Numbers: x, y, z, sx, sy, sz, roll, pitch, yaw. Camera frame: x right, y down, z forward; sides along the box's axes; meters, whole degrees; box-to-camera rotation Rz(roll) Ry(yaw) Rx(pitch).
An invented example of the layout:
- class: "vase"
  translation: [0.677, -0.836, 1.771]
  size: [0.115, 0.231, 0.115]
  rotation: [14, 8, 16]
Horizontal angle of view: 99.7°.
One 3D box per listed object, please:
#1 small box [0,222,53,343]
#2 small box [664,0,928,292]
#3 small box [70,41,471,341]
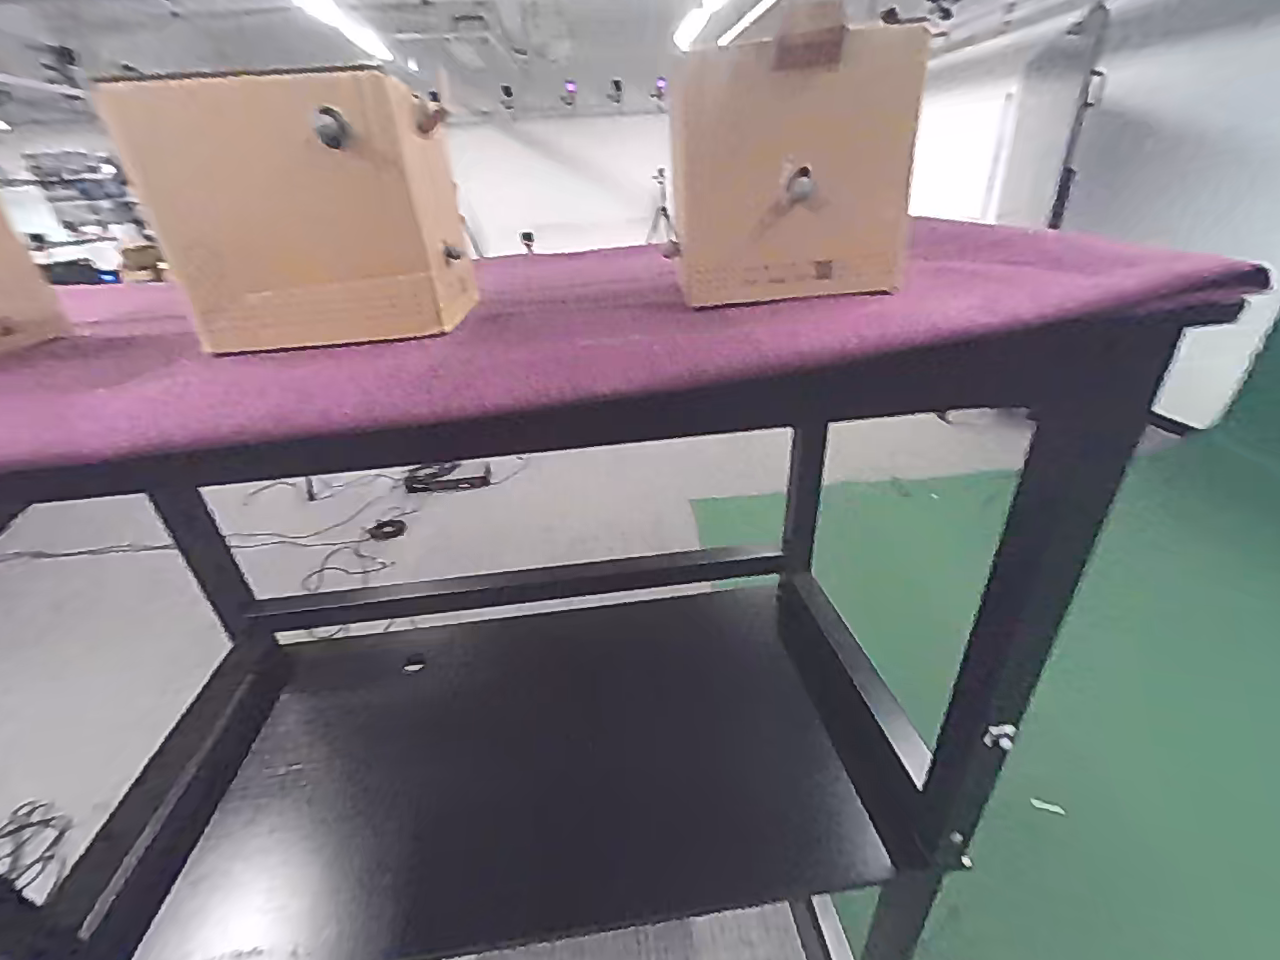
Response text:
- class: "small box"
  translation: [-0.605, -0.164, 0.376]
  size: [0.179, 0.176, 0.168]
  rotation: [-6, 31, -5]
- class: "small box"
  translation: [0.110, -0.257, 0.450]
  size: [0.168, 0.176, 0.179]
  rotation: [-4, 28, 3]
- class: "small box"
  translation: [-0.248, -0.211, 0.422]
  size: [0.179, 0.176, 0.168]
  rotation: [-6, 28, -5]
